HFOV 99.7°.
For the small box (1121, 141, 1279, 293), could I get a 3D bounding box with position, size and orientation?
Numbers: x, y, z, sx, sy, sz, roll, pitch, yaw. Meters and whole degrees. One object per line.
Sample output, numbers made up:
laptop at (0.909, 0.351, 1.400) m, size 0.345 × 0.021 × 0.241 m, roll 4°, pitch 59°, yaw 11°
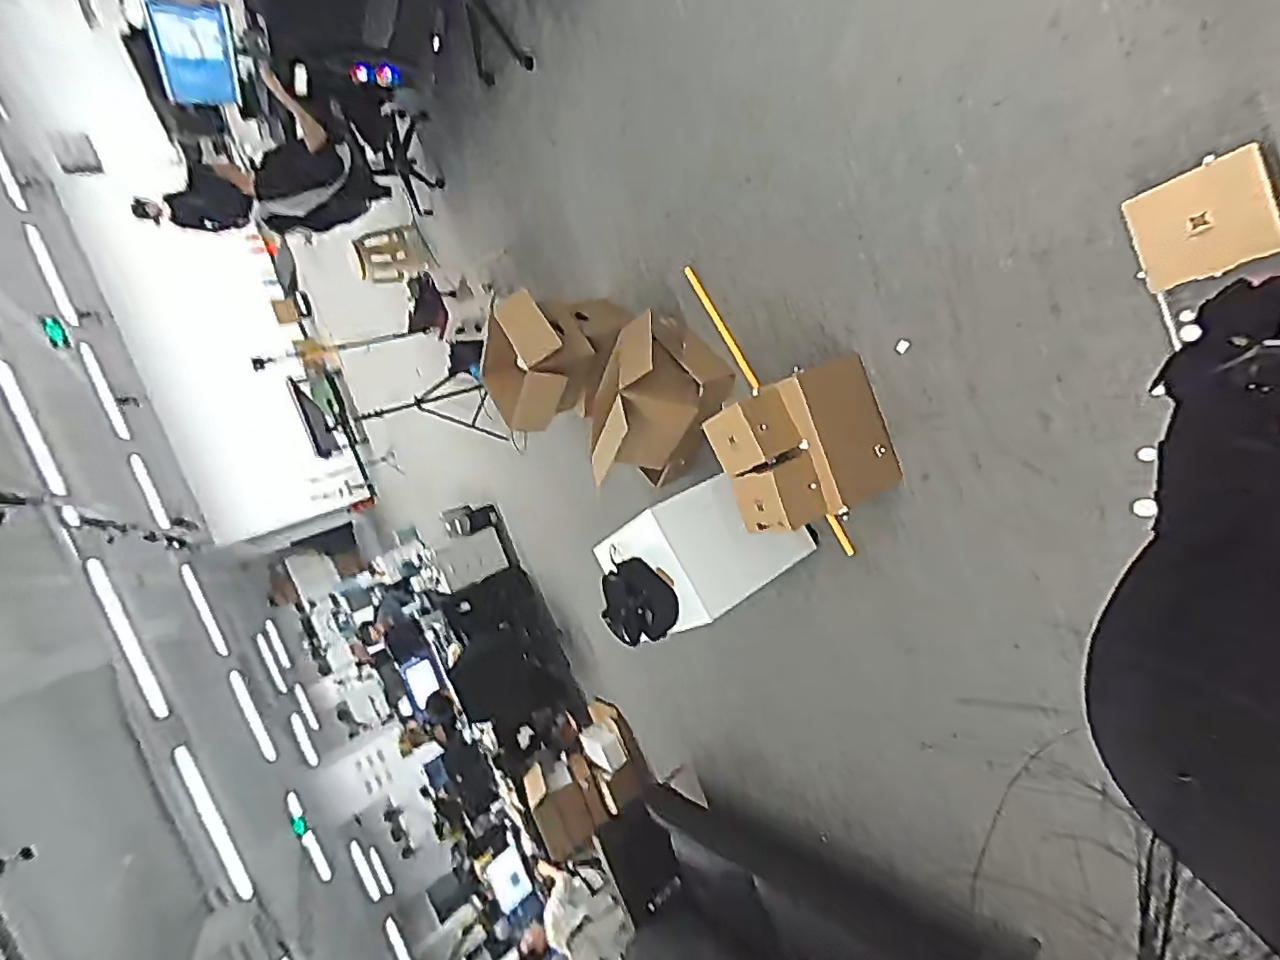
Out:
small box at (0.984, -0.452, 0.939) m, size 0.168 × 0.176 × 0.179 m, roll -18°, pitch 96°, yaw 57°
